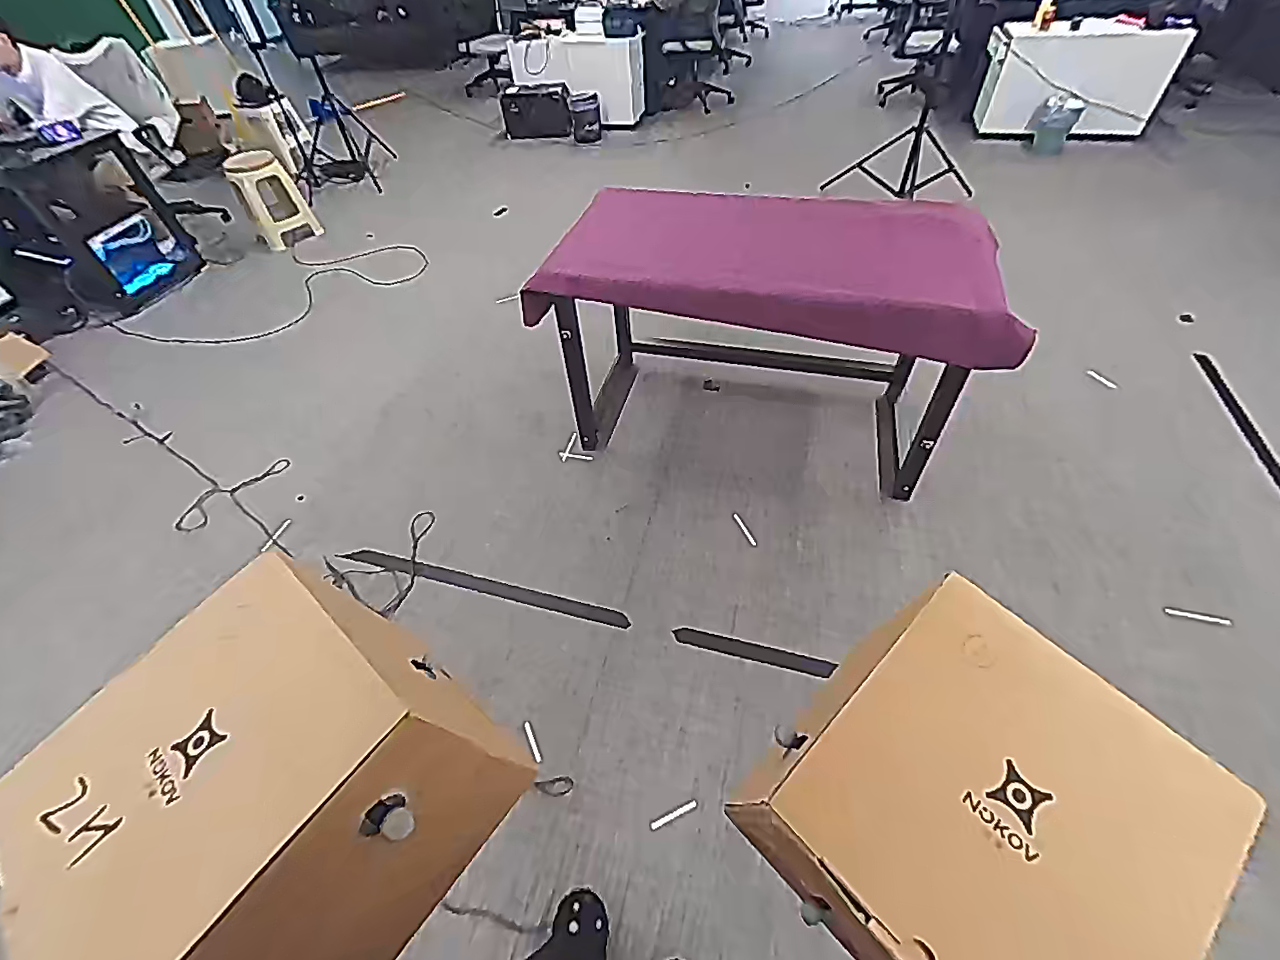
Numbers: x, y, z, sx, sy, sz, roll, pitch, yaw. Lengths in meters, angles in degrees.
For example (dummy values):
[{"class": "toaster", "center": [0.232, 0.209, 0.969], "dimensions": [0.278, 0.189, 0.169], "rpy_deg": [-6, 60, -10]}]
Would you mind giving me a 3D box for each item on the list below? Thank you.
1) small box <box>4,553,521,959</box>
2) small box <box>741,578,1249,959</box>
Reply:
[{"class": "small box", "center": [-0.196, 0.184, 0.330], "dimensions": [0.168, 0.176, 0.179], "rpy_deg": [28, 66, 32]}, {"class": "small box", "center": [0.182, 0.198, 0.333], "dimensions": [0.179, 0.176, 0.168], "rpy_deg": [-40, 66, -21]}]
